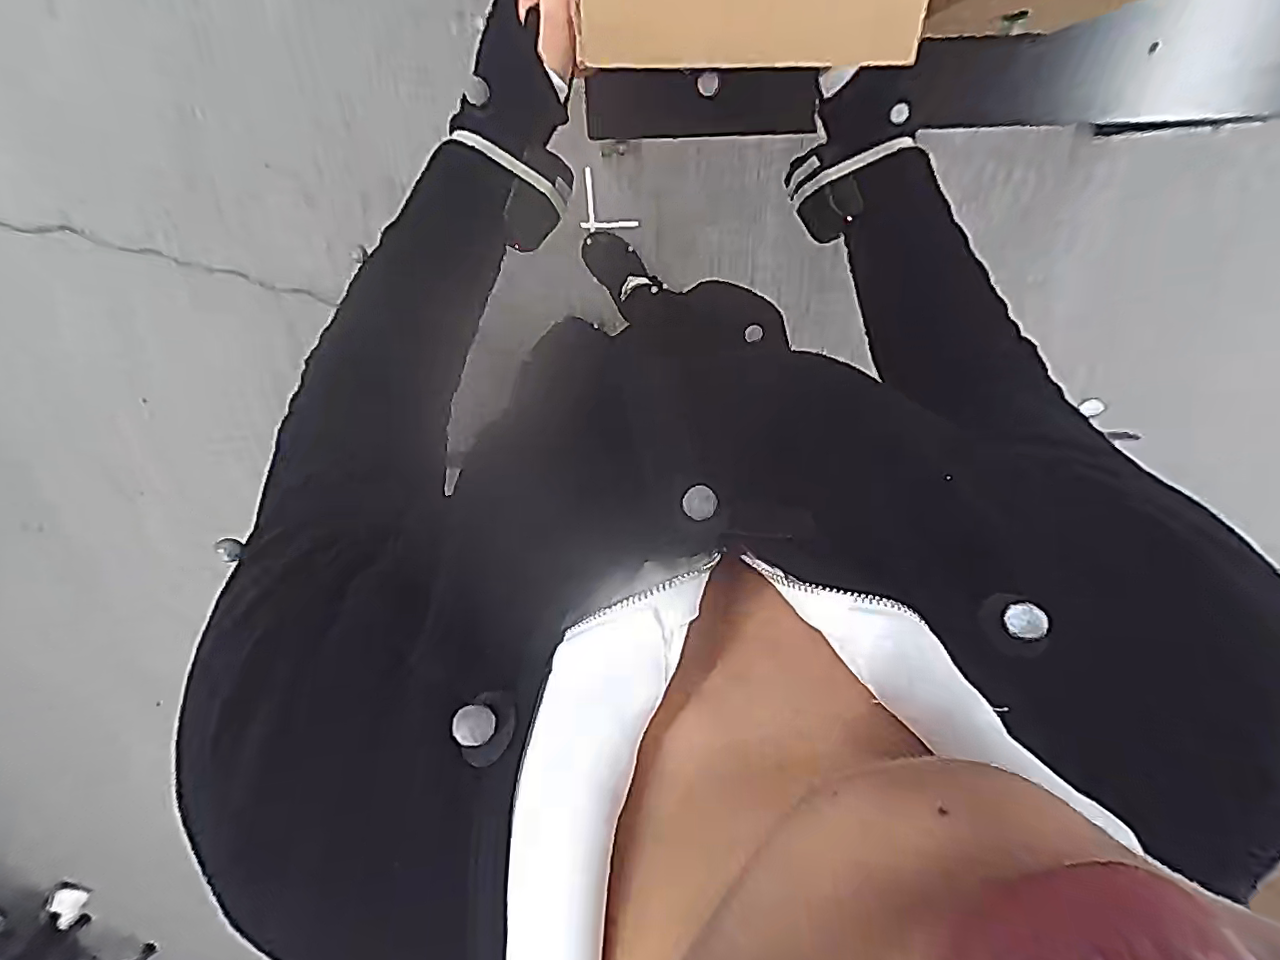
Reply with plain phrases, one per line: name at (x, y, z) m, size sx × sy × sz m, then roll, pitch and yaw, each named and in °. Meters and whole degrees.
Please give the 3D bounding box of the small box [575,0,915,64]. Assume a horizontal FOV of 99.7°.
small box at (0.050, -0.338, 0.301) m, size 0.179 × 0.176 × 0.168 m, roll -3°, pitch 128°, yaw -4°

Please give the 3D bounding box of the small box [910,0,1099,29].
small box at (0.335, -0.500, 0.447) m, size 0.168 × 0.176 × 0.179 m, roll -4°, pitch 118°, yaw -3°
